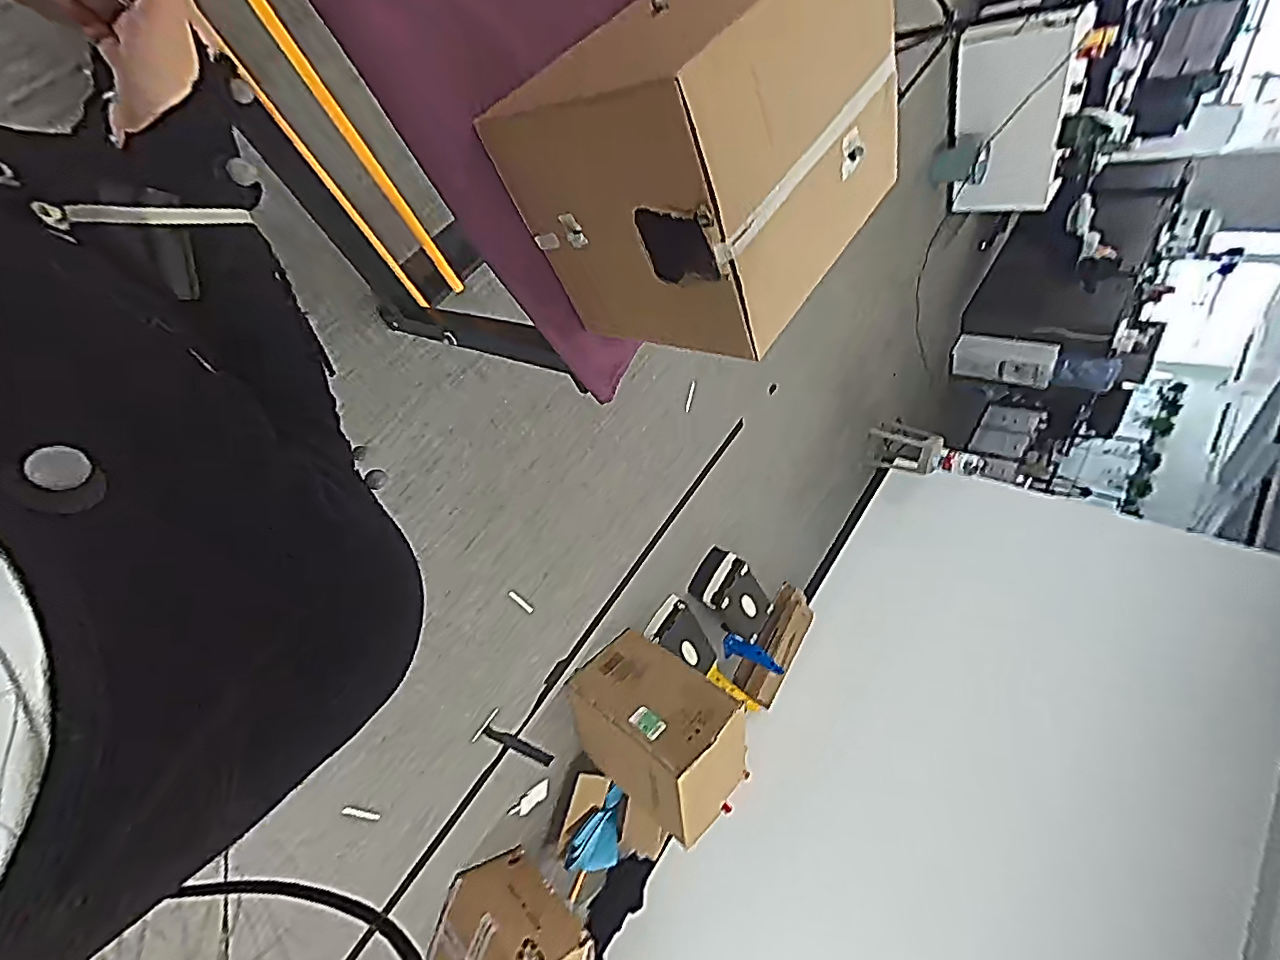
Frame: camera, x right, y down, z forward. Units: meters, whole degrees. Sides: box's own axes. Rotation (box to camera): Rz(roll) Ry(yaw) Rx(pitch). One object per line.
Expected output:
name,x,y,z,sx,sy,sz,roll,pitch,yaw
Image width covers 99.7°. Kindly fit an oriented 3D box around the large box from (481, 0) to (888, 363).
large box,0.083,-0.417,0.707,0.408,0.320,0.320,-53,140,-20
